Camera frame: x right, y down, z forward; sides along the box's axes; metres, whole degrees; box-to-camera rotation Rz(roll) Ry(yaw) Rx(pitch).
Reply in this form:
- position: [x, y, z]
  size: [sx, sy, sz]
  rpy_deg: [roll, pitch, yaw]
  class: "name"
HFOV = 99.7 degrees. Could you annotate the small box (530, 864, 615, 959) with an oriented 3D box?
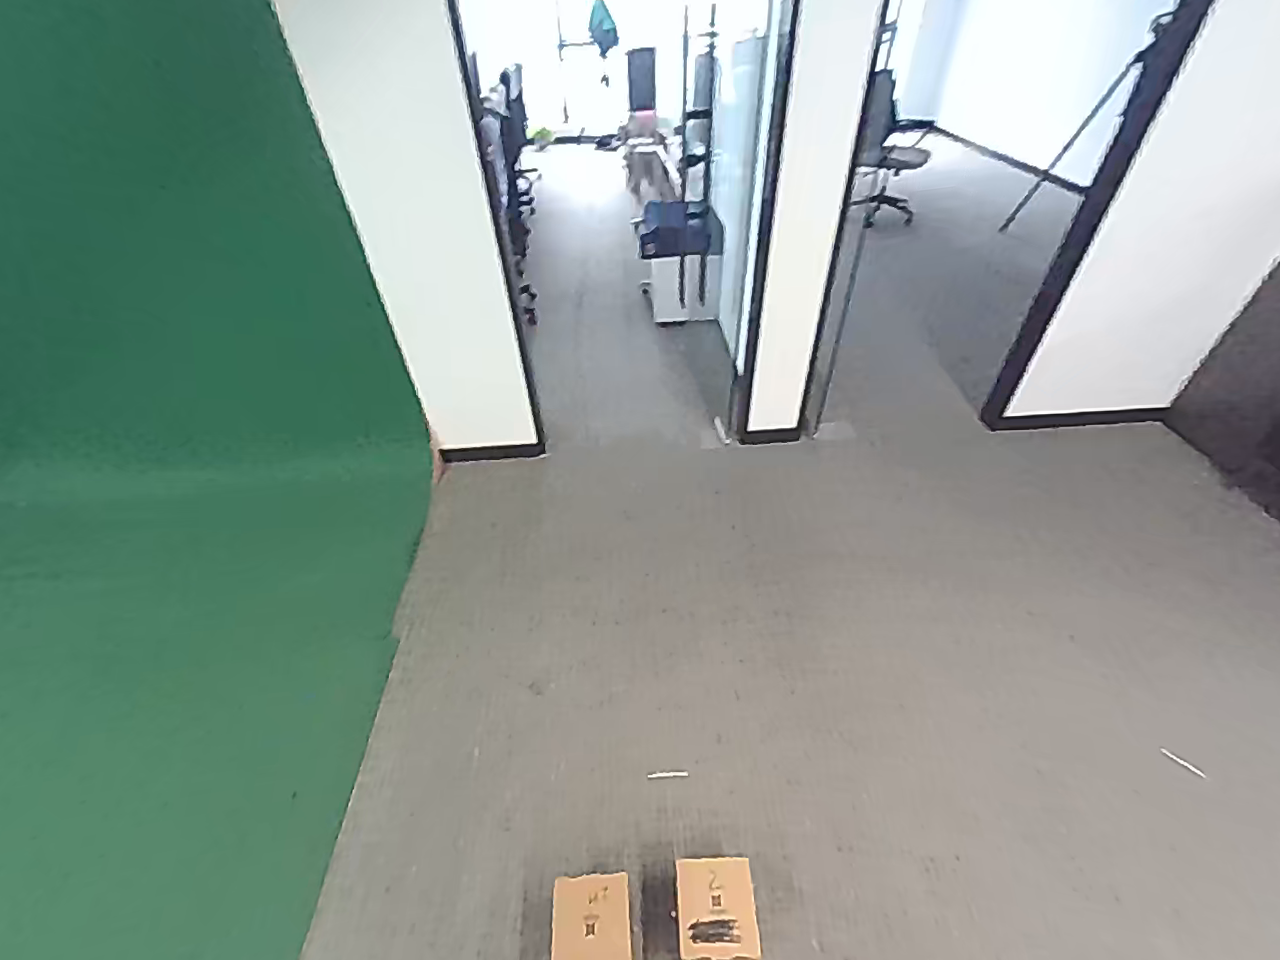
- position: [-0.140, 0.972, 1.191]
  size: [0.168, 0.176, 0.179]
  rpy_deg: [-2, 43, -2]
  class: "small box"
